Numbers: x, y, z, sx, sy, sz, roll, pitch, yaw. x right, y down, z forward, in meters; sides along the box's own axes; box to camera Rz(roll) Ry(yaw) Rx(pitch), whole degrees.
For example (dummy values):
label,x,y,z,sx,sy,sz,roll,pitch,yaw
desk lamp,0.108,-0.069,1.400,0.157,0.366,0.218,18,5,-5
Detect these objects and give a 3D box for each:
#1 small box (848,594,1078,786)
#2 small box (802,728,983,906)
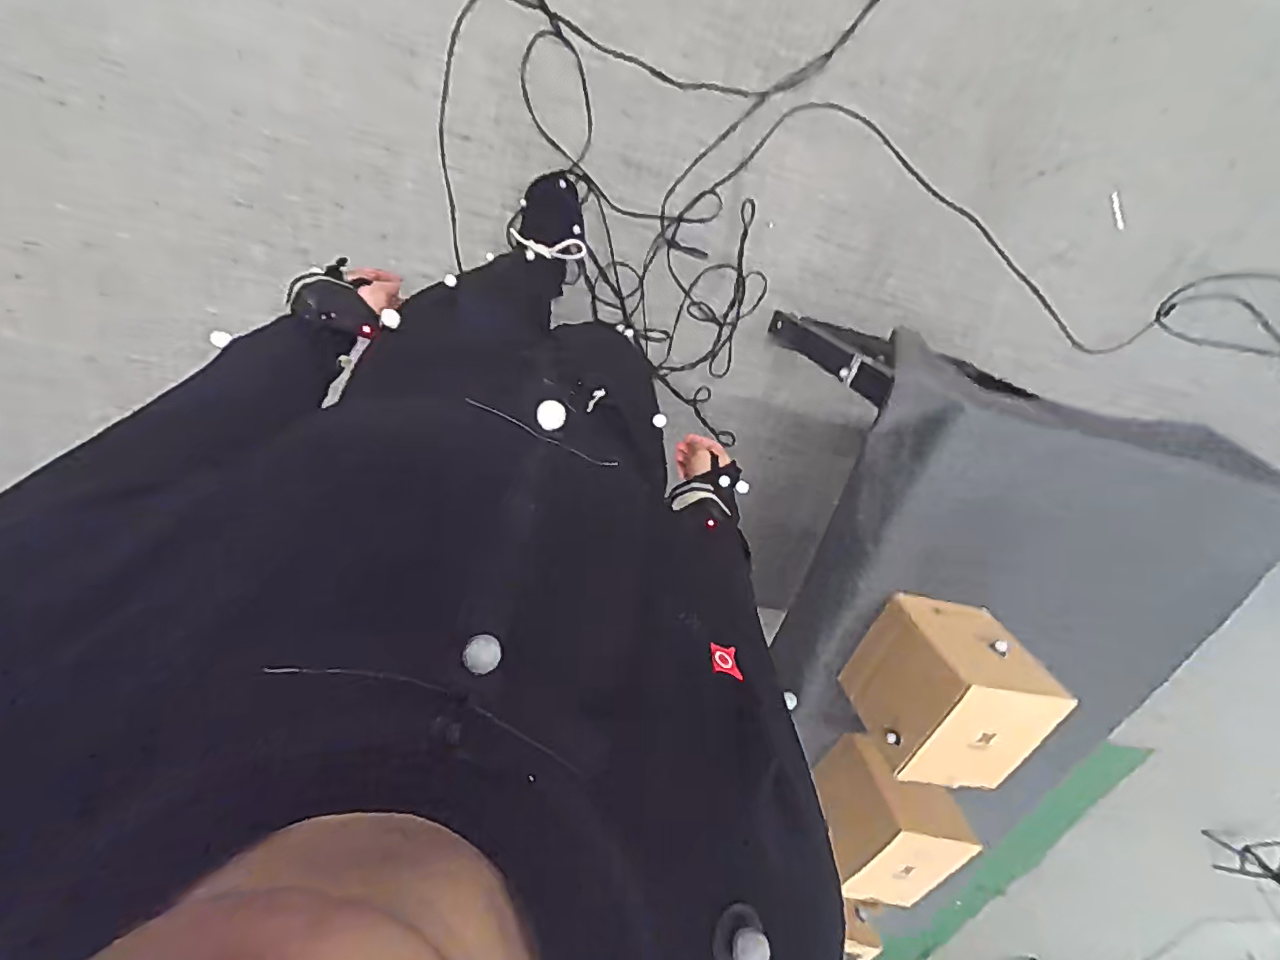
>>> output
label,x,y,z,sx,sy,sz,roll,pitch,yaw
small box,0.416,0.279,0.733,0.168,0.176,0.179,12,117,-14
small box,0.388,0.540,0.872,0.168,0.176,0.179,21,113,-18
